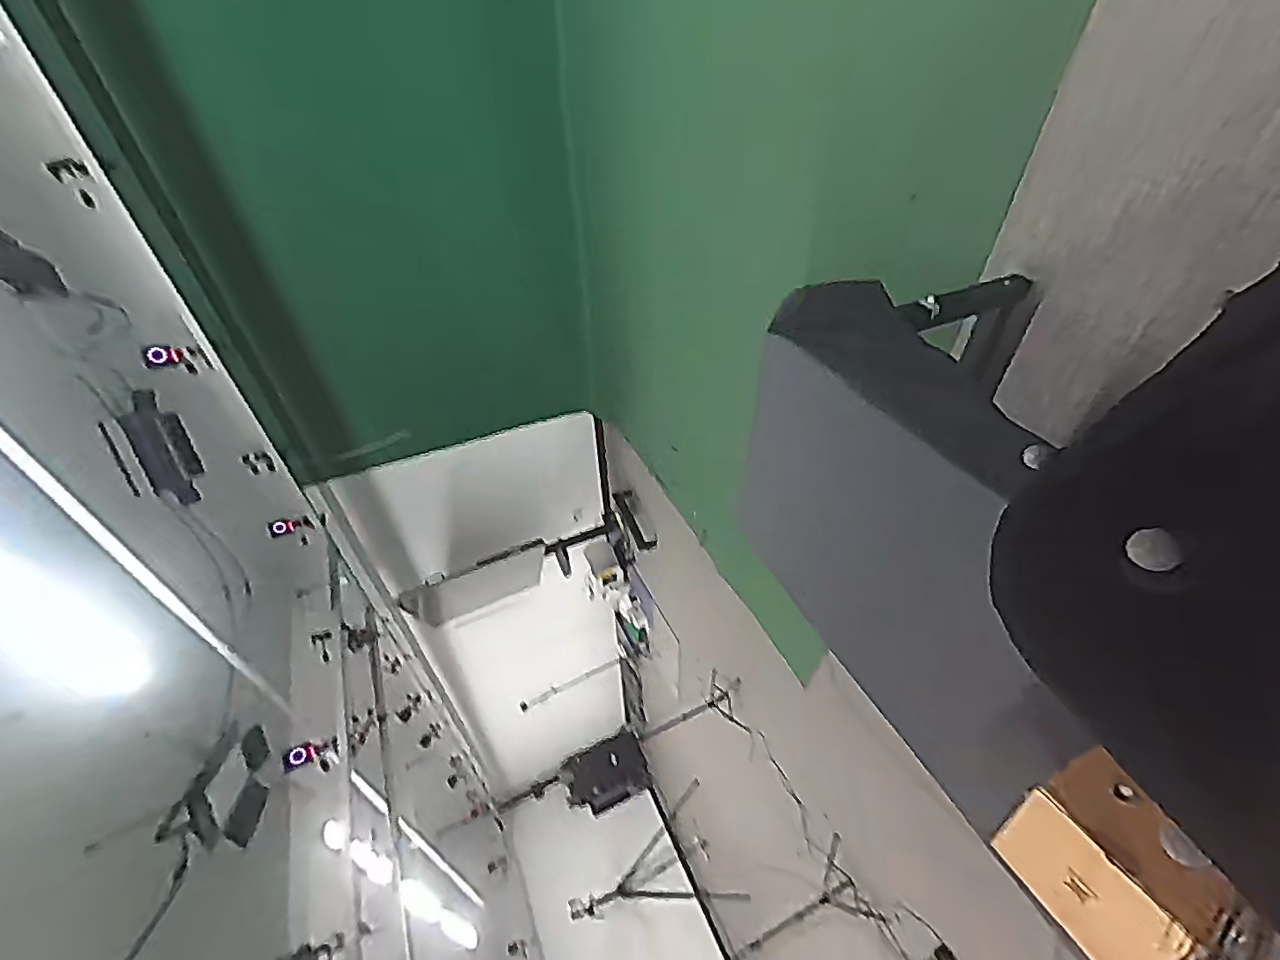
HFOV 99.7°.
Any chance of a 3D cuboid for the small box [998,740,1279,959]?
[{"bbox_3d":[0.579,0.446,0.637,0.168,0.176,0.179,-127,25,-49],"label":"small box"}]
